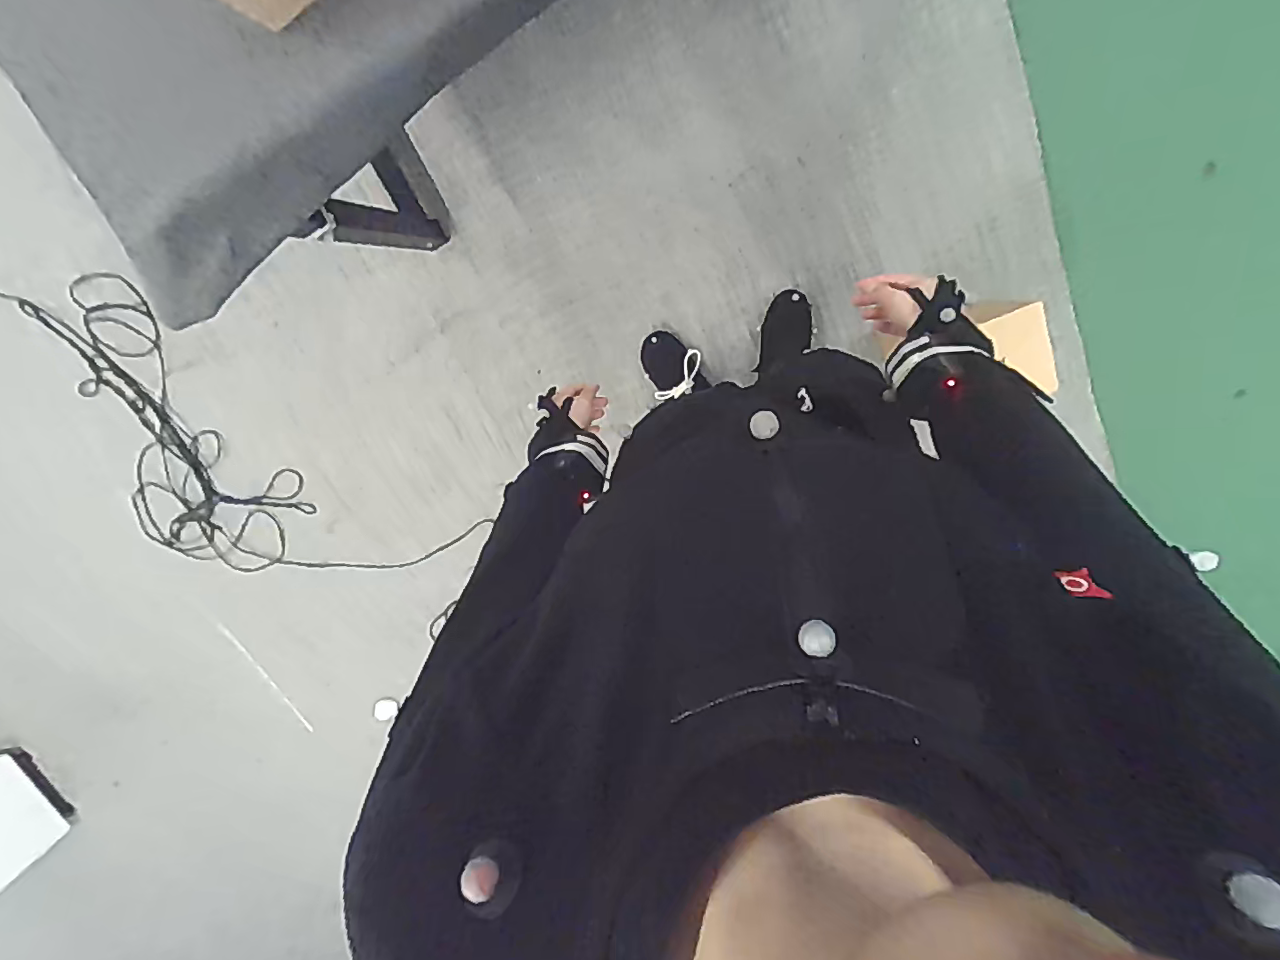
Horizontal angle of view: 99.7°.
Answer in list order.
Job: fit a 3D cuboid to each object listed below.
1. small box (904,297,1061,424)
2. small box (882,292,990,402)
[{"bbox_3d":[0.624,-0.229,1.001,0.179,0.176,0.168,-21,107,13],"label":"small box"},{"bbox_3d":[0.638,-0.286,1.155,0.179,0.176,0.168,-23,106,15],"label":"small box"}]
